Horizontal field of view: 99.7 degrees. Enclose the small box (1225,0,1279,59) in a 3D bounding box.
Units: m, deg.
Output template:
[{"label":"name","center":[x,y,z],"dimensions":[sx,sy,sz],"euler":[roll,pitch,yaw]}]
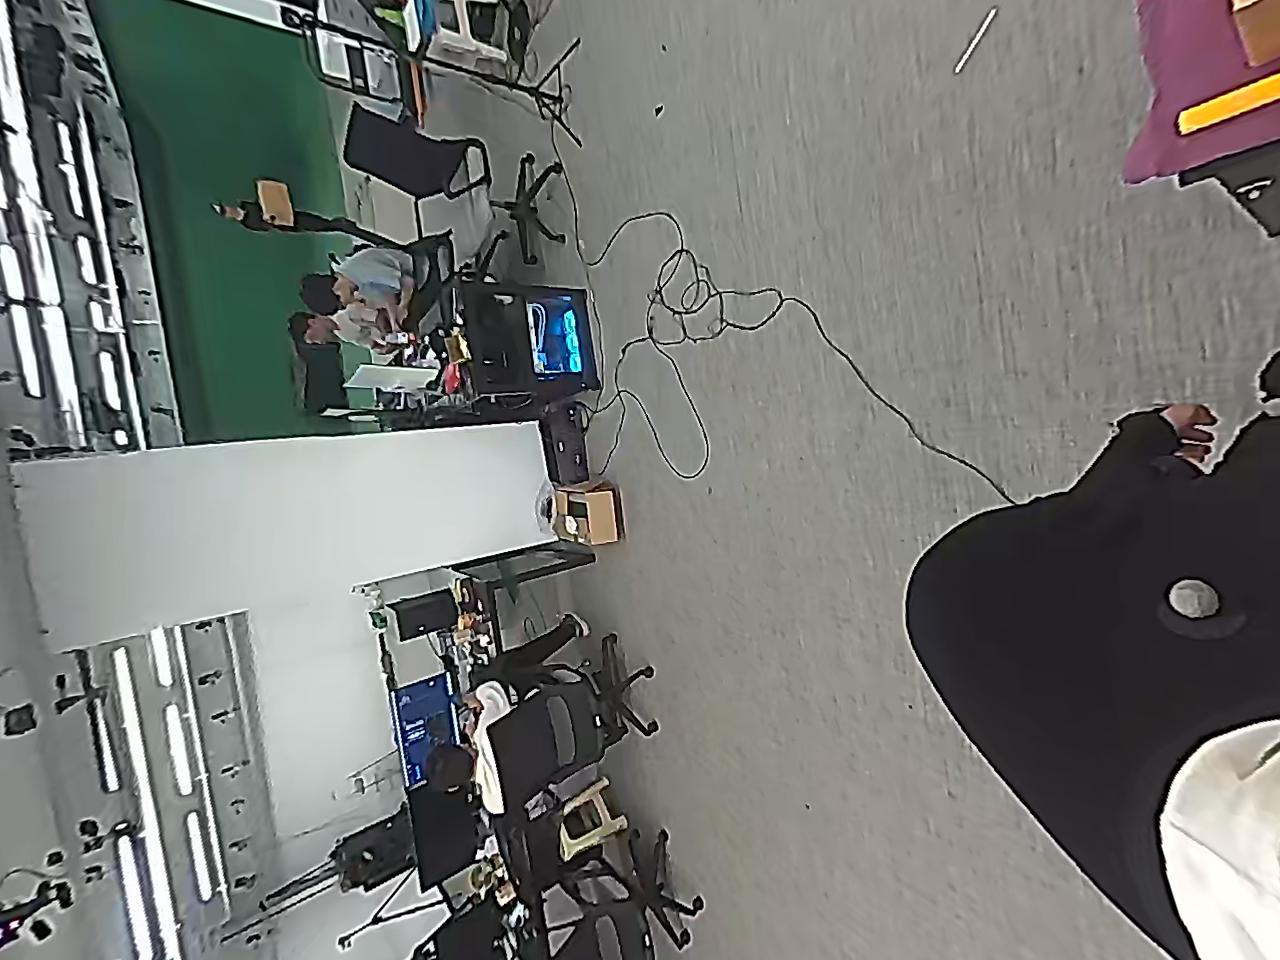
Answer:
[{"label":"small box","center":[0.645,-0.530,0.476],"dimensions":[0.179,0.176,0.168],"euler":[-4,94,52]}]
